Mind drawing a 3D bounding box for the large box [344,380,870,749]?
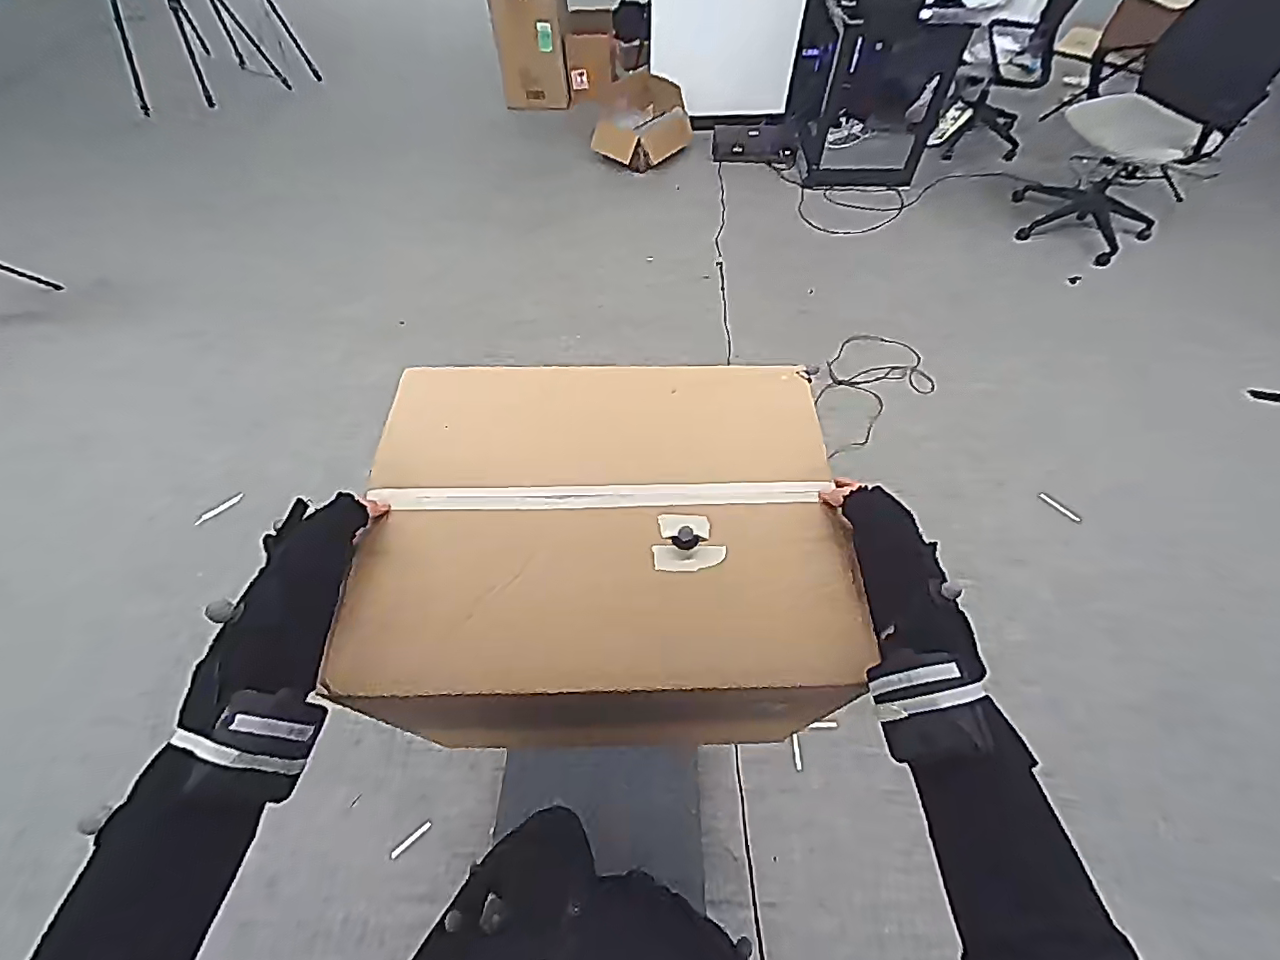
[{"bbox_3d":[-0.031,0.106,0.607,0.408,0.320,0.320,0,58,-2],"label":"large box"}]
